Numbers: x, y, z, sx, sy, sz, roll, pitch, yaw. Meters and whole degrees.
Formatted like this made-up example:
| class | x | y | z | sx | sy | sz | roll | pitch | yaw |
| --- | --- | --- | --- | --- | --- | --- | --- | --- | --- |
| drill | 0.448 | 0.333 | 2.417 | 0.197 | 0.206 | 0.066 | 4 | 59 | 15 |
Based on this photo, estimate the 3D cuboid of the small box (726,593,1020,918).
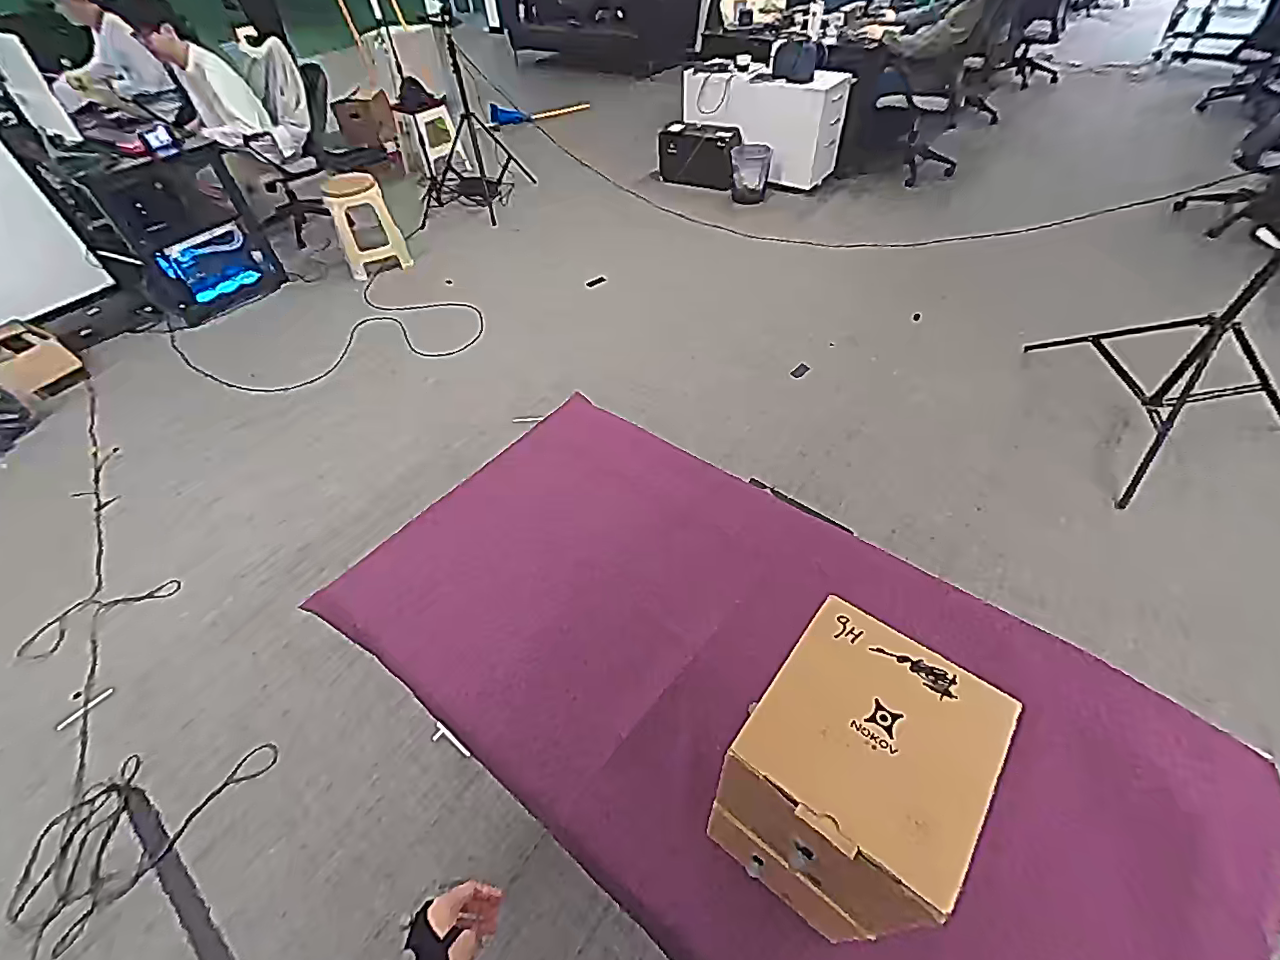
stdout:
| class | x | y | z | sx | sy | sz | roll | pitch | yaw |
| --- | --- | --- | --- | --- | --- | --- | --- | --- | --- |
| small box | 0.190 | 0.244 | 0.482 | 0.168 | 0.176 | 0.179 | 30 | 56 | 27 |

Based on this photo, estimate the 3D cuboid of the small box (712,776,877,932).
| class | x | y | z | sx | sy | sz | roll | pitch | yaw |
| --- | --- | --- | --- | --- | --- | --- | --- | --- | --- |
| small box | 0.194 | 0.357 | 0.601 | 0.168 | 0.176 | 0.179 | 29 | 55 | 26 |
